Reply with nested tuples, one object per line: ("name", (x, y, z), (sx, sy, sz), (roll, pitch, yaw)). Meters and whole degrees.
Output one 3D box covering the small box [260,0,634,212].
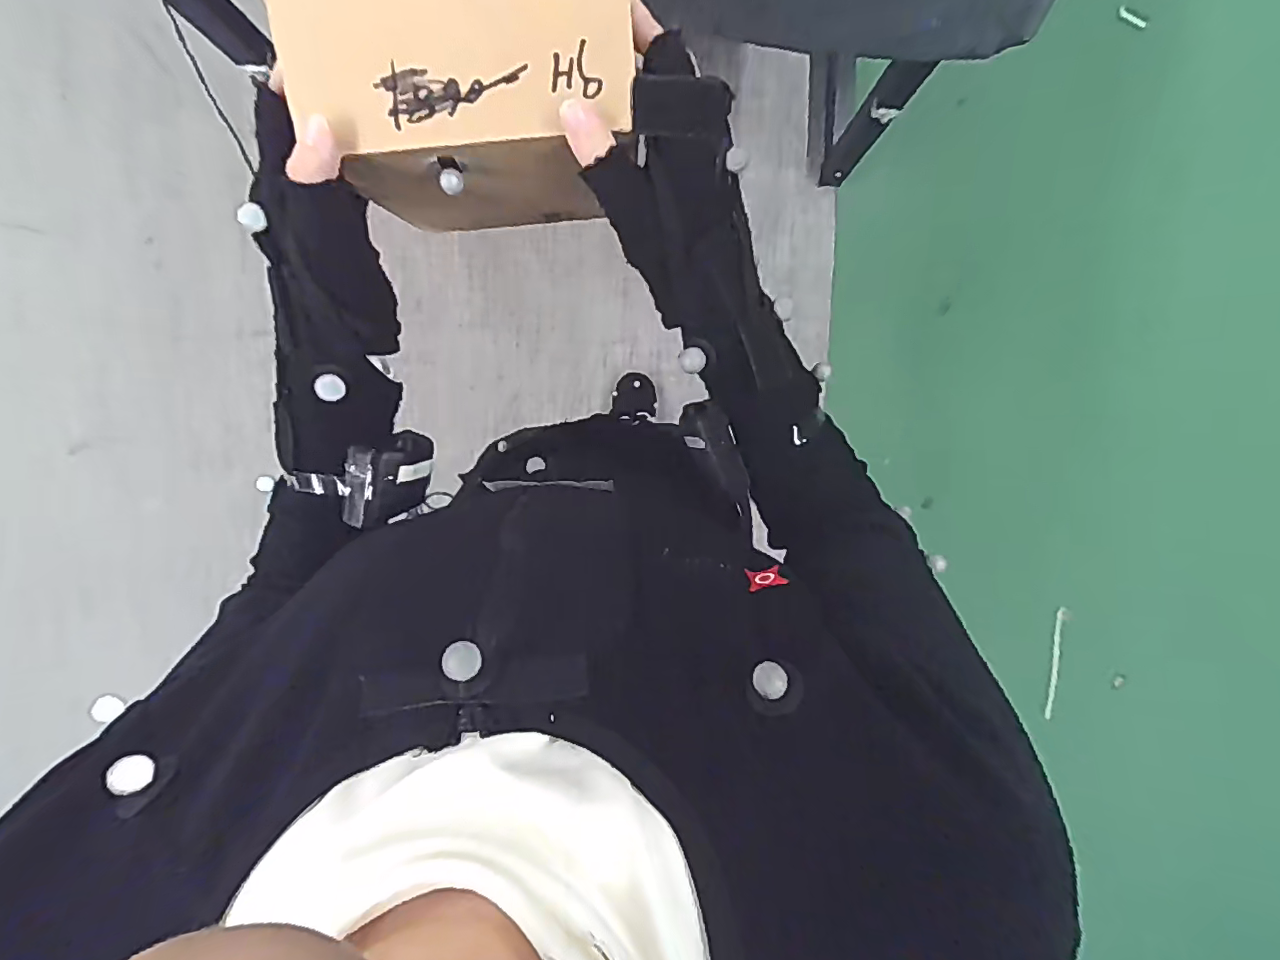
("small box", (-0.094, -0.276, 0.314), (0.168, 0.176, 0.179), (-6, 104, 0))
